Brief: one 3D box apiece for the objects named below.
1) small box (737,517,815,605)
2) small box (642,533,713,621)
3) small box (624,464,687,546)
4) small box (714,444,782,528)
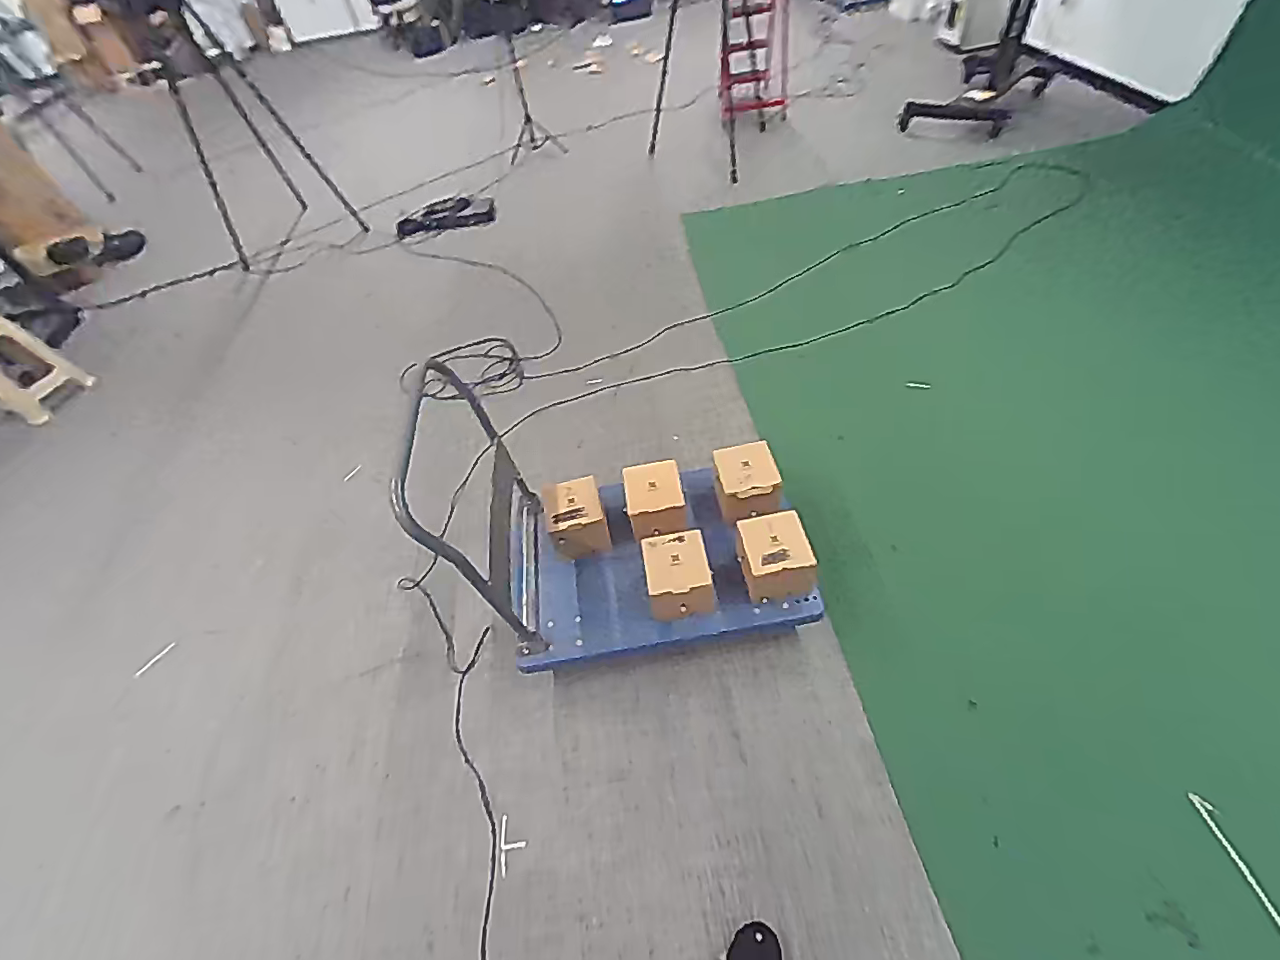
[{"bbox_3d":[0.370,0.232,1.498,0.168,0.176,0.179,-11,50,0],"label":"small box"},{"bbox_3d":[0.105,0.274,1.487,0.168,0.176,0.179,-9,51,1],"label":"small box"},{"bbox_3d":[0.049,0.078,1.656,0.168,0.176,0.179,-10,52,1],"label":"small box"},{"bbox_3d":[0.323,0.020,1.652,0.168,0.176,0.179,-12,51,1],"label":"small box"}]
